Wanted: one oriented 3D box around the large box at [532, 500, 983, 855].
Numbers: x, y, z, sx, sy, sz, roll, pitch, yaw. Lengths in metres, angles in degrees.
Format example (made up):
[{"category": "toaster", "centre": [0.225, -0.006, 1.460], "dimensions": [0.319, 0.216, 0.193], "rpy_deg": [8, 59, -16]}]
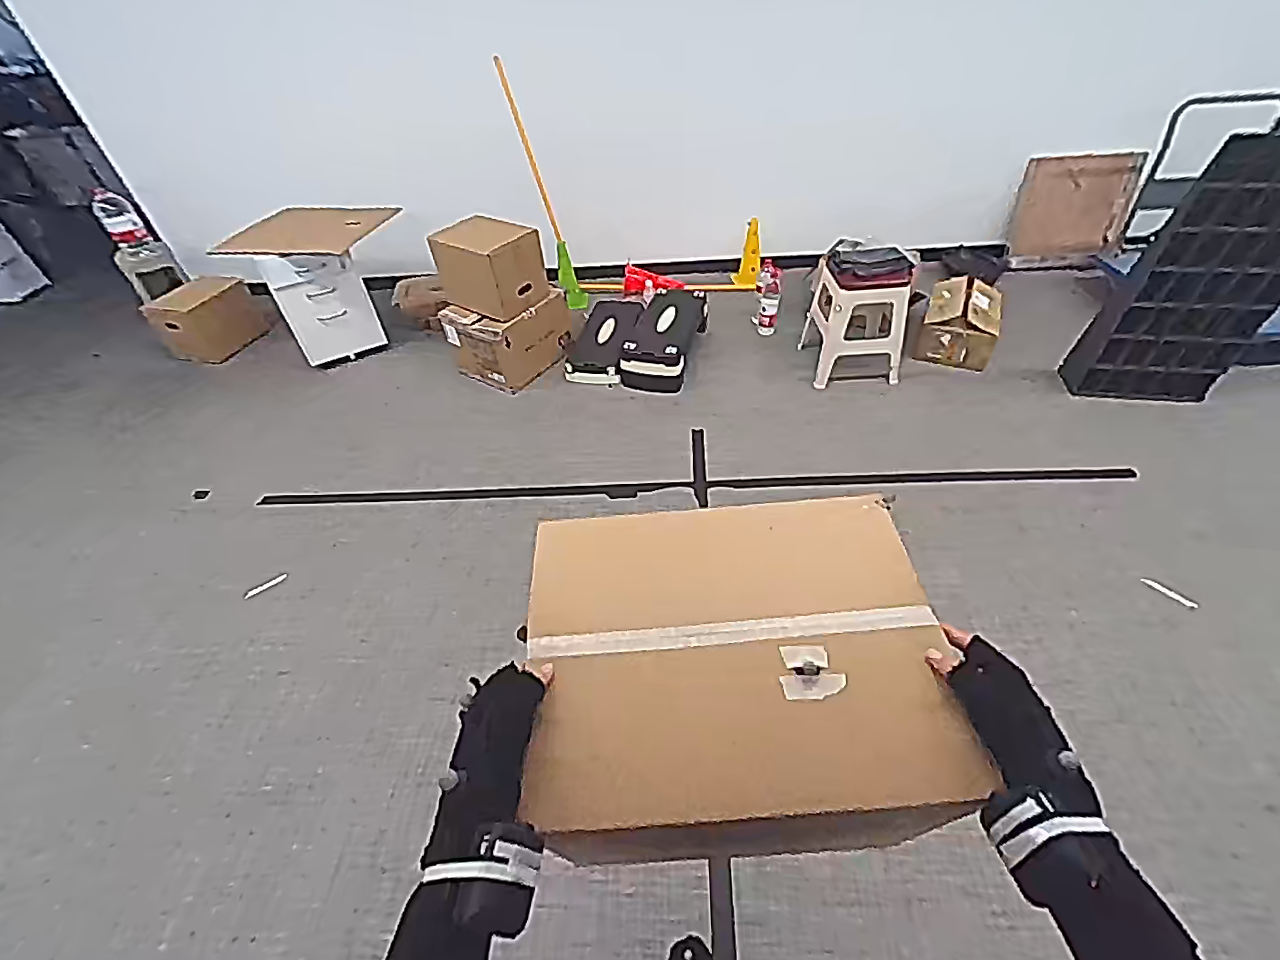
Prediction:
[{"category": "large box", "centre": [0.100, 0.253, 0.674], "dimensions": [0.408, 0.320, 0.320], "rpy_deg": [-4, 51, 1]}]
